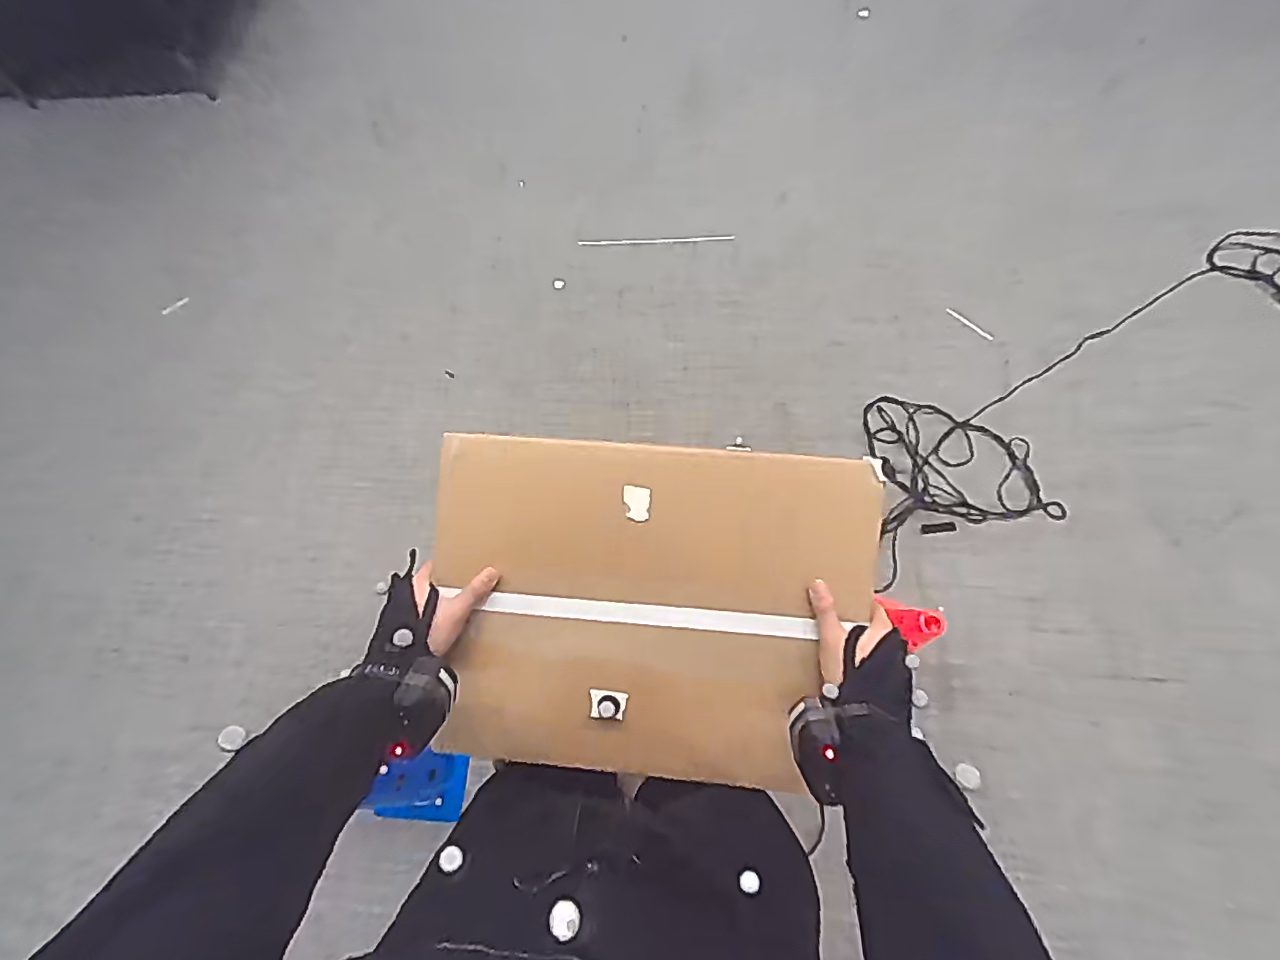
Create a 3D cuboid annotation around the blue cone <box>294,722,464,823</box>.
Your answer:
[{"bbox_3d":[-0.503,0.575,1.029,0.192,0.380,0.193,2,69,8],"label":"blue cone"}]

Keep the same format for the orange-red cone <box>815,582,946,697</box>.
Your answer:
[{"bbox_3d":[0.482,0.280,1.009,0.199,0.360,0.198,21,73,13],"label":"orange-red cone"}]
